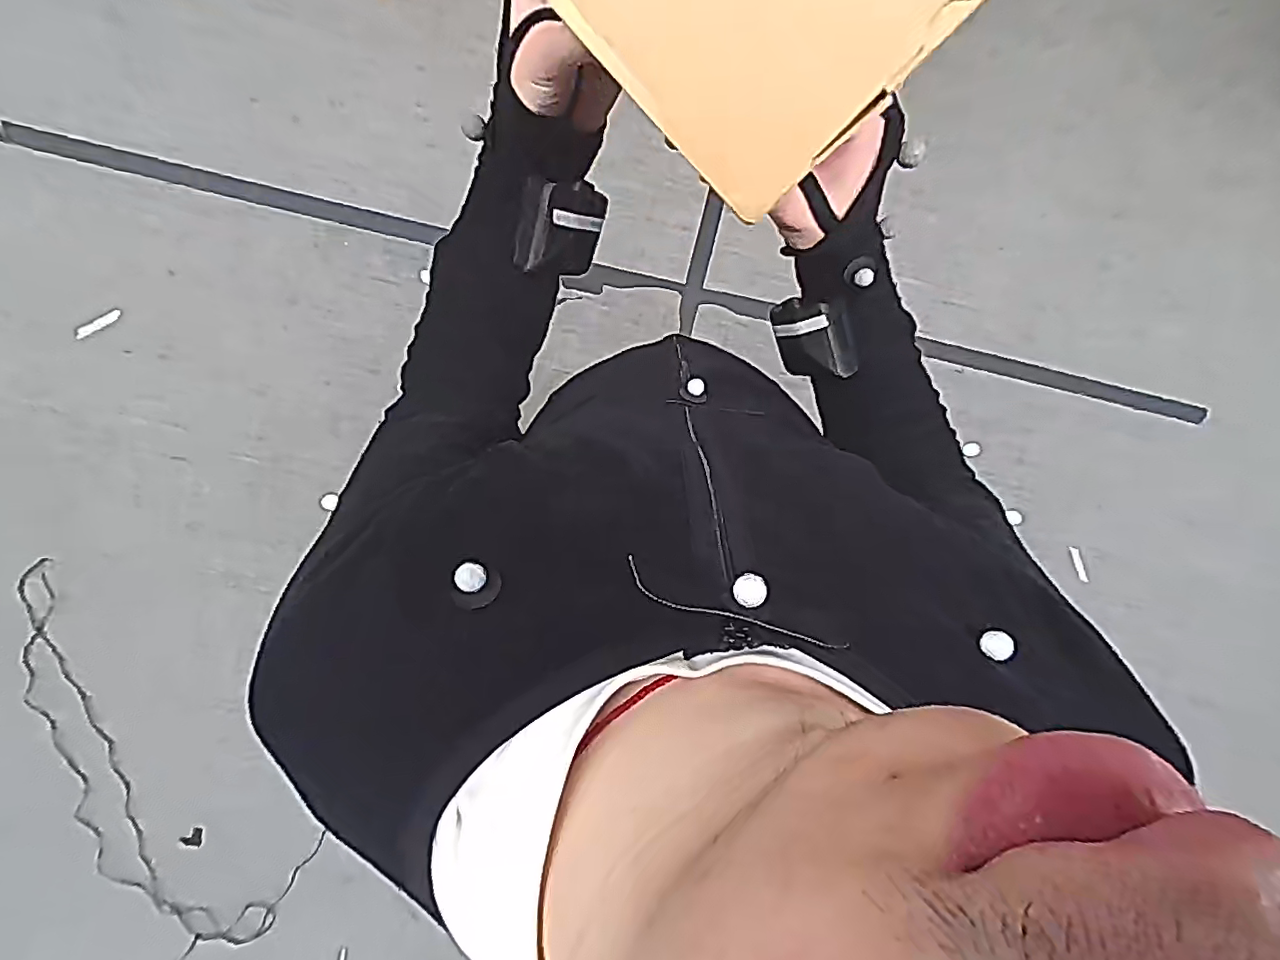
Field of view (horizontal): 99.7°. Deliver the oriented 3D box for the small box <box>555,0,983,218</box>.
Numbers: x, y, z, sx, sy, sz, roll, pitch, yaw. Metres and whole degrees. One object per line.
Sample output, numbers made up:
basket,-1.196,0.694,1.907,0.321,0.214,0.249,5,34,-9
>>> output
small box,0.050,-0.248,0.213,0.179,0.176,0.168,40,124,-19
